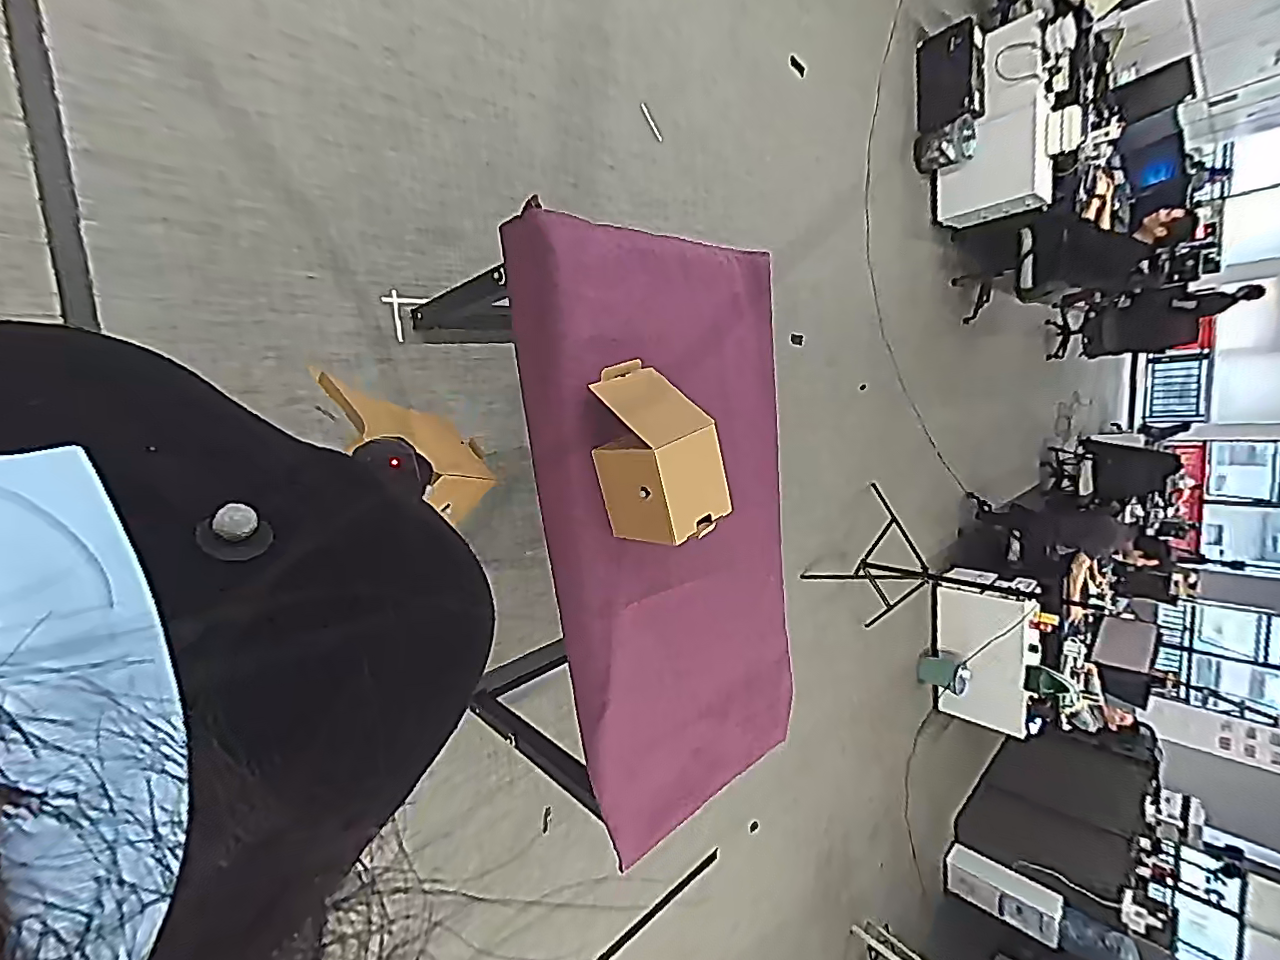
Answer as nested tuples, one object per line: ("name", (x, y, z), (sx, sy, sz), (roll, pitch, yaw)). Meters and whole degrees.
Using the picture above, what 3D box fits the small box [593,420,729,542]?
("small box", (0.036, -0.002, 0.997), (0.168, 0.176, 0.179), (-25, 109, -39))
